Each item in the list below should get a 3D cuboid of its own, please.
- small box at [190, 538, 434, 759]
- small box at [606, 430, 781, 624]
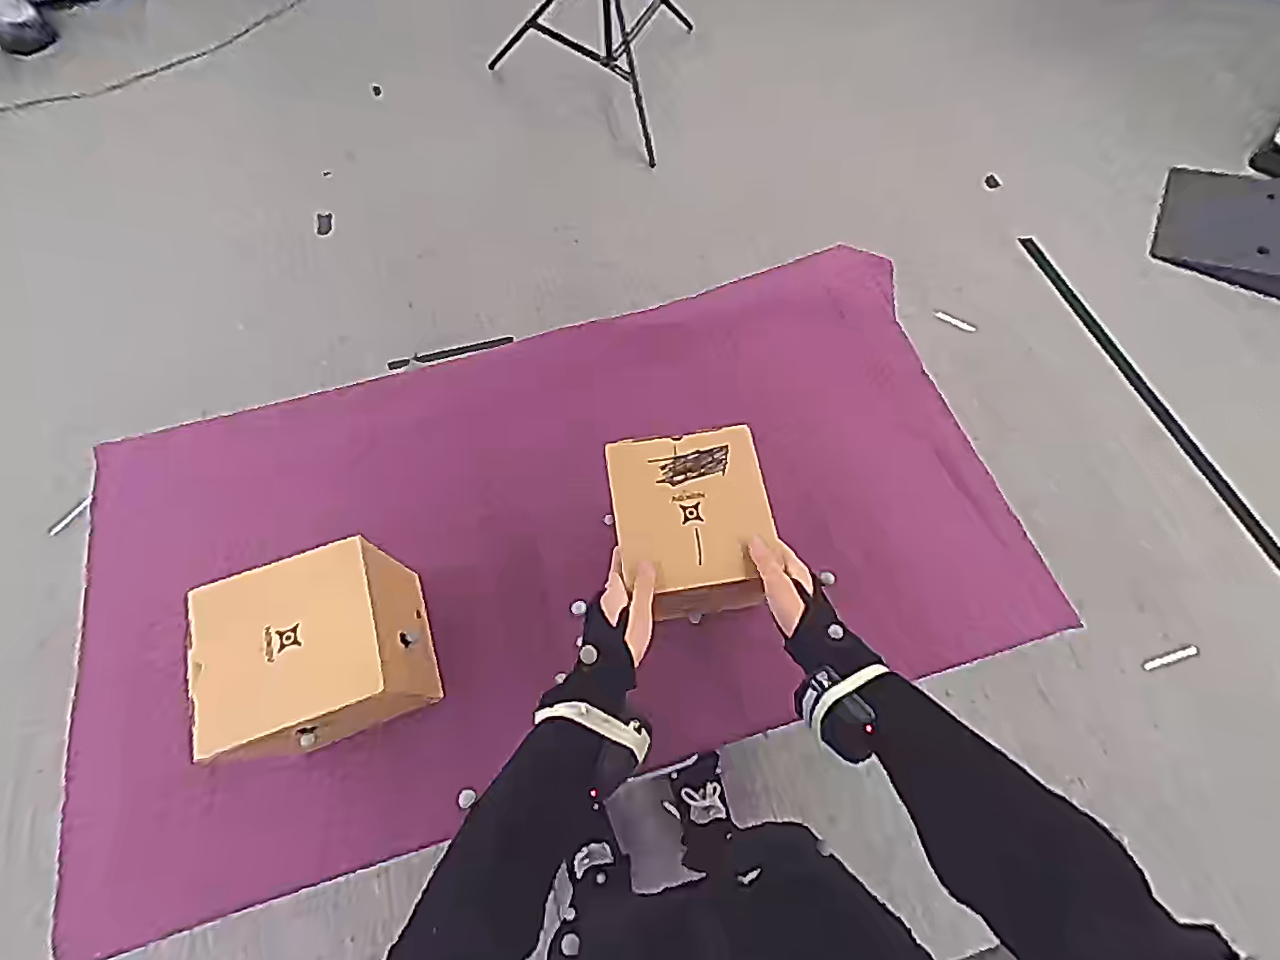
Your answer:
[{"bbox_3d":[-0.347,0.187,0.602,0.179,0.176,0.168,-19,68,-7],"label":"small box"},{"bbox_3d":[0.052,0.062,0.647,0.168,0.176,0.179,-8,67,-2],"label":"small box"}]
